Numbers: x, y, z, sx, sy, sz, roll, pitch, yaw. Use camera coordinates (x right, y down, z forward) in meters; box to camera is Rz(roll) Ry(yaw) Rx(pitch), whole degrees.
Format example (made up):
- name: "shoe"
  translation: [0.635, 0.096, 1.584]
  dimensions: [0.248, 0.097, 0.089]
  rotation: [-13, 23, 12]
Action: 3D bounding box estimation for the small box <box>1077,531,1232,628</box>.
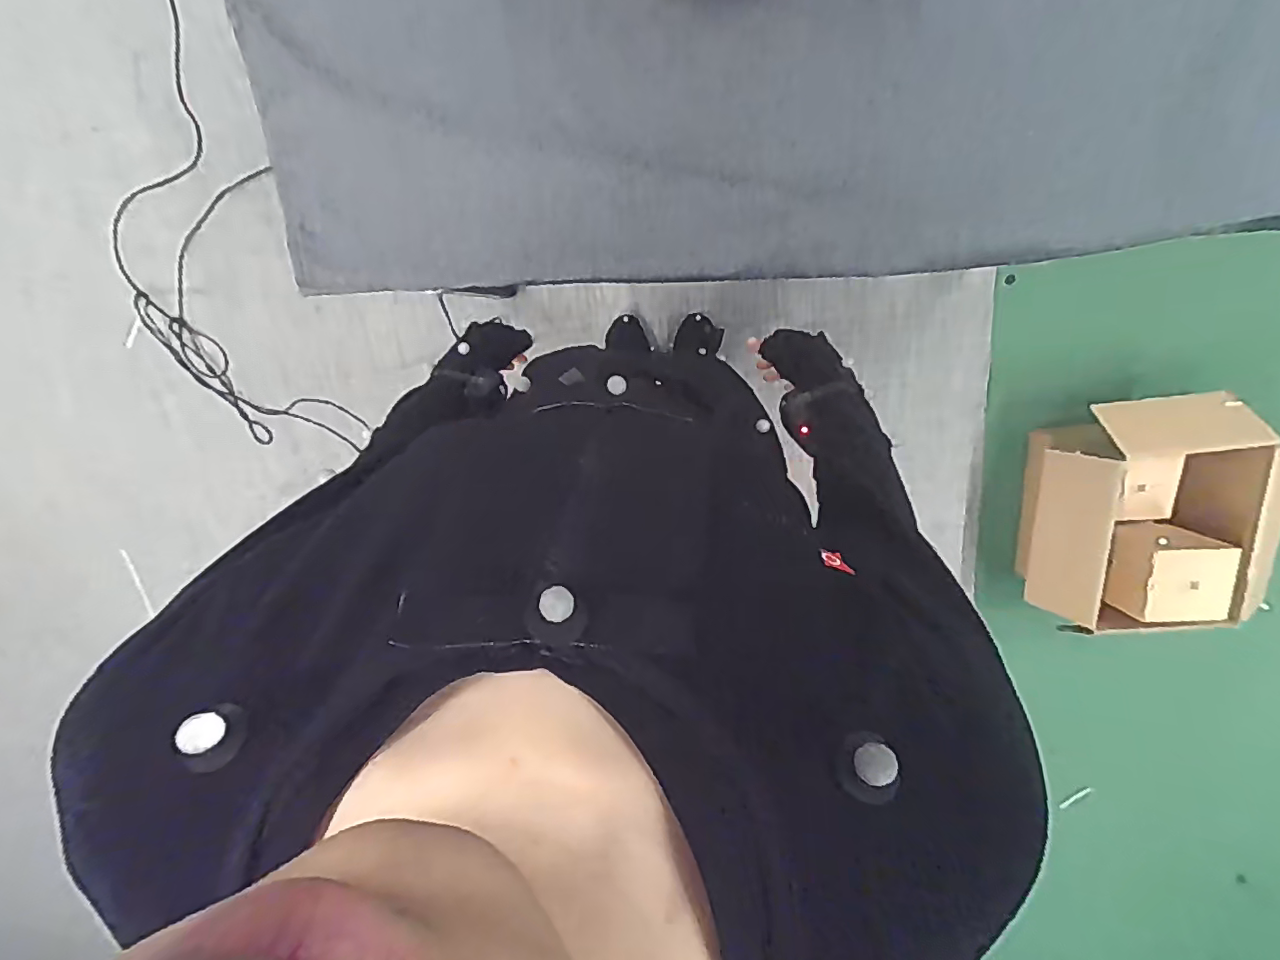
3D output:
- name: "small box"
  translation: [1.150, 0.218, 1.221]
  dimensions: [0.179, 0.176, 0.168]
  rotation: [-2, 103, 2]
